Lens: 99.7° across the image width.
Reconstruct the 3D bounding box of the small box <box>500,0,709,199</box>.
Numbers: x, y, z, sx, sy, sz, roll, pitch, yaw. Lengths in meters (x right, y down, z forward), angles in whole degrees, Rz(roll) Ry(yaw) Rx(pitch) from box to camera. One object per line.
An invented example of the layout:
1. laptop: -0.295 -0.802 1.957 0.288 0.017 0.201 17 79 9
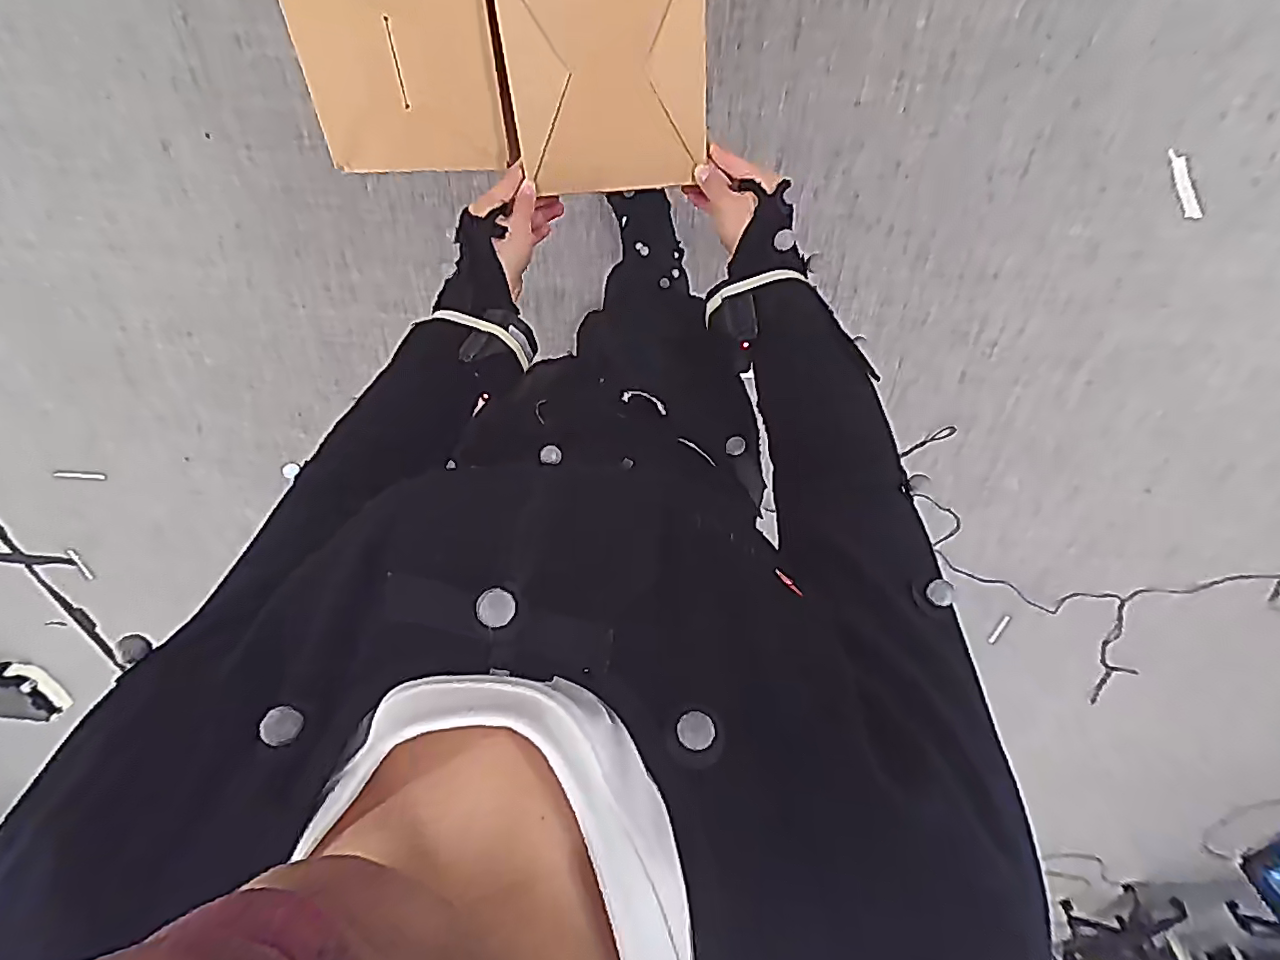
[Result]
1. small box: -0.024 -0.380 0.518 0.168 0.176 0.179 -3 126 3
